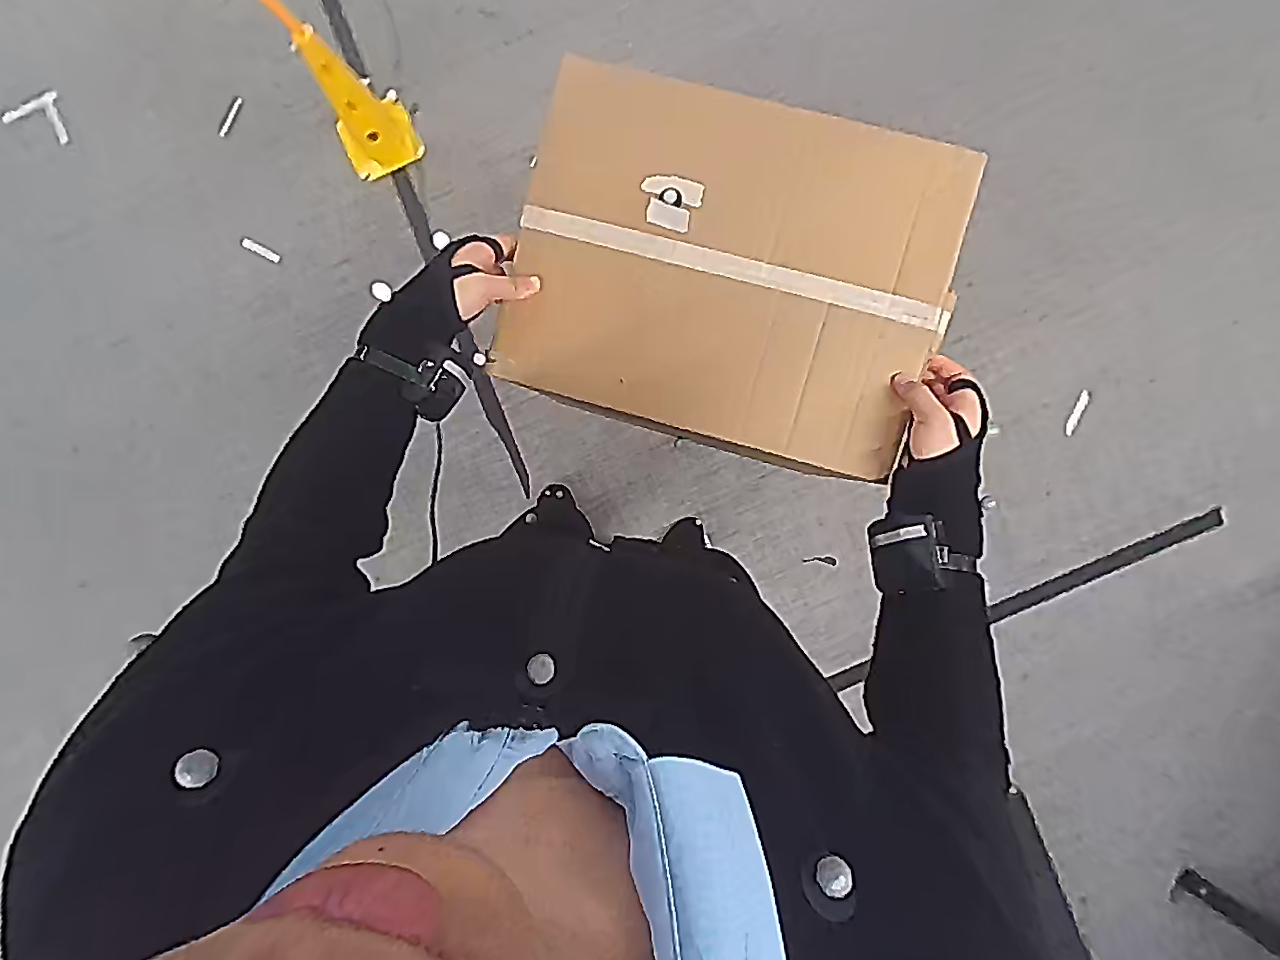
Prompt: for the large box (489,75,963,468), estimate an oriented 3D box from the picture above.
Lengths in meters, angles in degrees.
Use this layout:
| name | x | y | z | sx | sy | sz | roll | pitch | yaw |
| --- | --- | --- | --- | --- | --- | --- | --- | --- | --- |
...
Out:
| name | x | y | z | sx | sy | sz | roll | pitch | yaw |
| --- | --- | --- | --- | --- | --- | --- | --- | --- | --- |
| large box | 0.089 | -0.210 | 0.670 | 0.408 | 0.320 | 0.320 | 15 | 92 | 5 |
